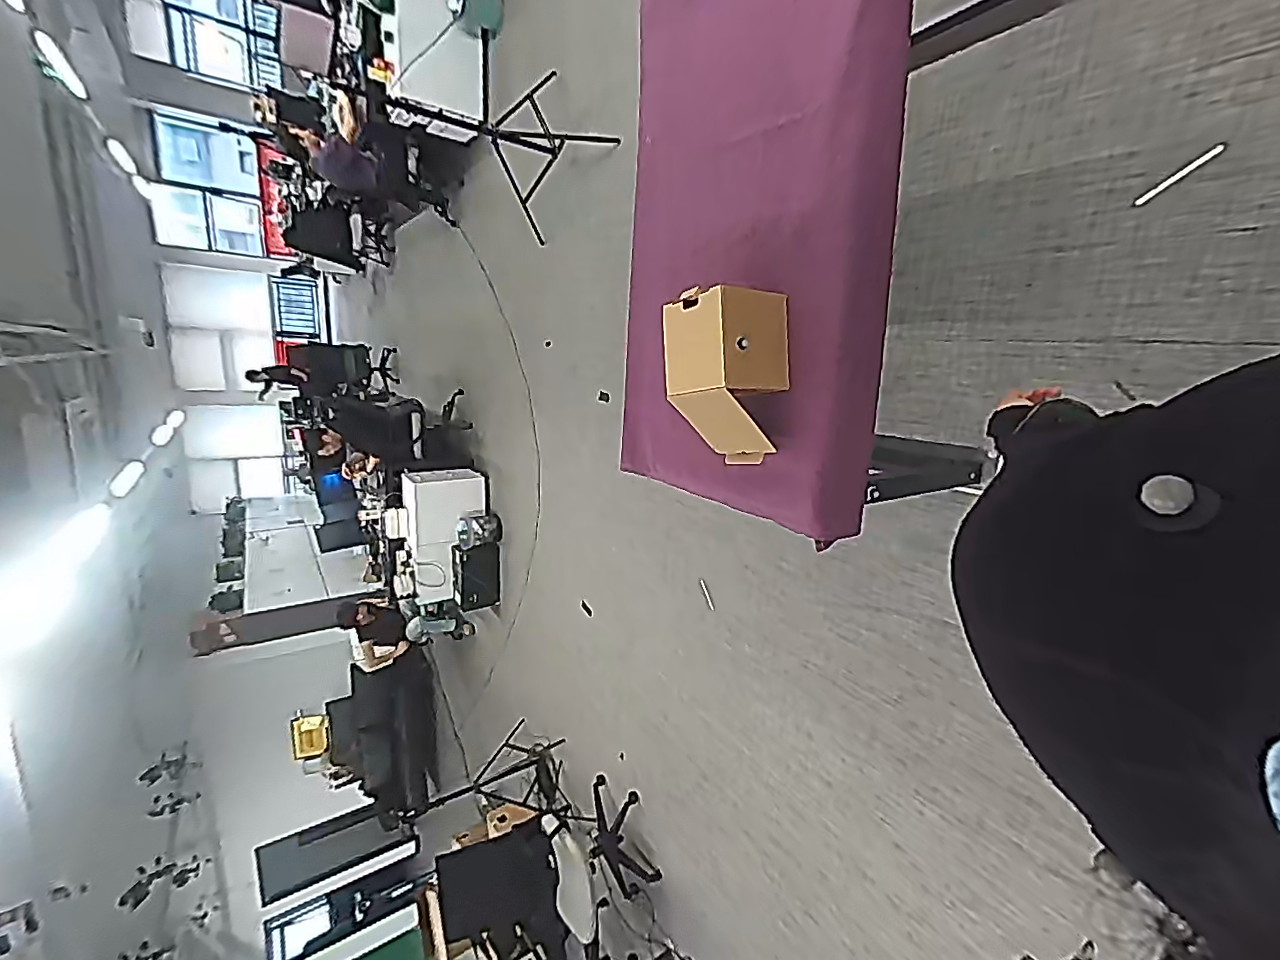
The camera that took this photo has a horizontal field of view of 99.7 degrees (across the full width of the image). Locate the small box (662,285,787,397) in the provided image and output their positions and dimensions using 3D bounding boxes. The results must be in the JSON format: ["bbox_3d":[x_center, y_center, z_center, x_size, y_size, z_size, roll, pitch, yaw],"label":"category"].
[{"bbox_3d":[0.160,-0.252,1.016,0.168,0.176,0.179,3,98,55],"label":"small box"}]
